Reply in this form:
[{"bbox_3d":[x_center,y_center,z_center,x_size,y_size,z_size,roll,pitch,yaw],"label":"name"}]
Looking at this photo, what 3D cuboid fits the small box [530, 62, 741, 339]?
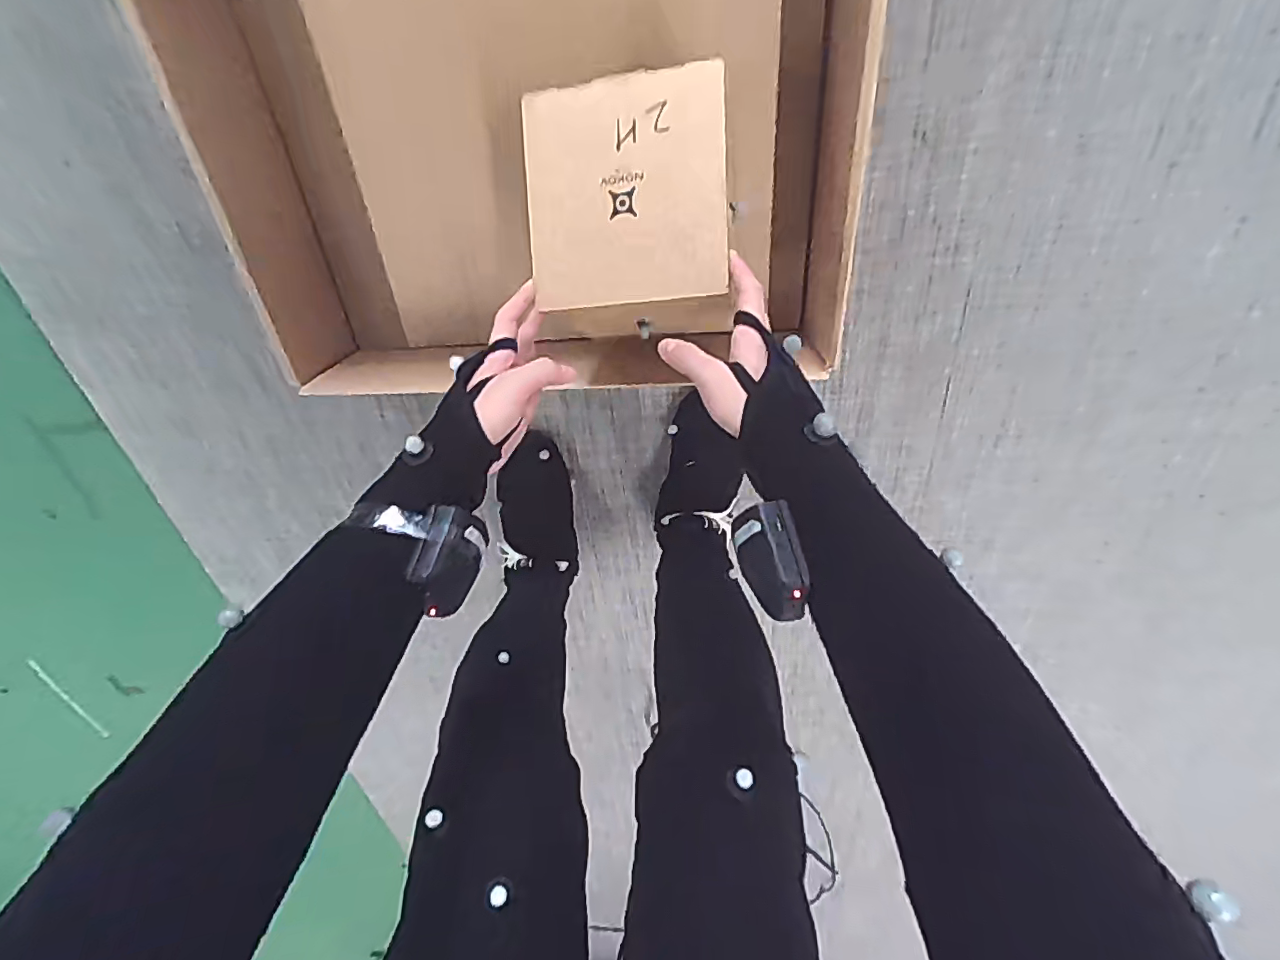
[{"bbox_3d":[0.008,-0.236,0.511,0.168,0.176,0.179,-1,92,13],"label":"small box"}]
